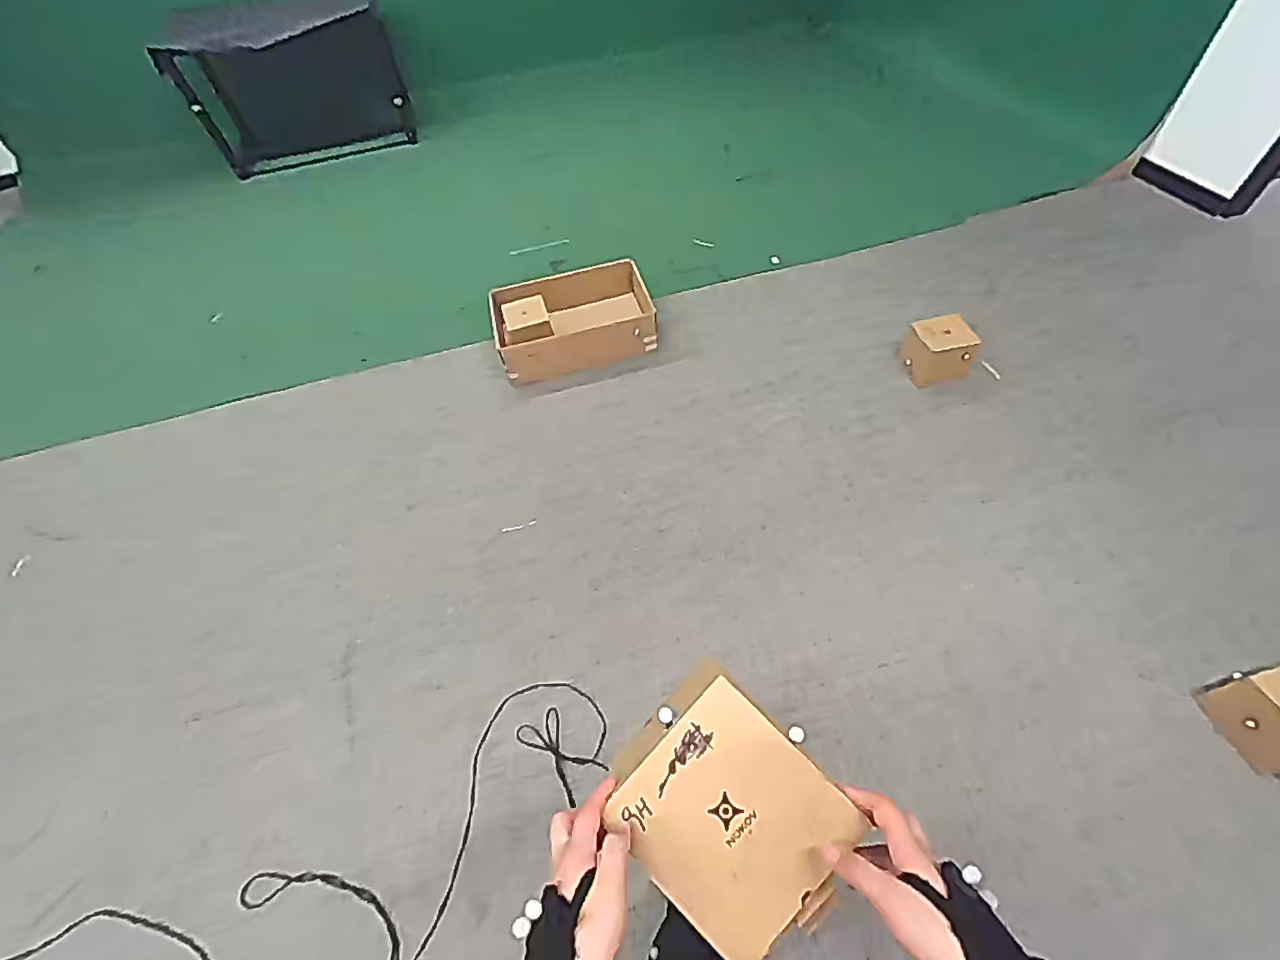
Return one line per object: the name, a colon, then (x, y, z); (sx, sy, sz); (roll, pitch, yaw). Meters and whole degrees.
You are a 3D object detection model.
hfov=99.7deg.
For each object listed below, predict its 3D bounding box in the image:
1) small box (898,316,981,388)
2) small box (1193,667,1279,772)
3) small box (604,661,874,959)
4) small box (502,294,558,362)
small box: (1.055, -0.453, 1.921); (0.179, 0.176, 0.168); (-11, 53, -1)
small box: (1.395, 0.517, 1.173); (0.168, 0.176, 0.179); (-14, 53, -4)
small box: (0.089, 0.308, 0.546); (0.179, 0.176, 0.168); (43, 84, 10)
small box: (-0.431, -0.597, 2.132); (0.168, 0.176, 0.179); (-17, 55, -6)
